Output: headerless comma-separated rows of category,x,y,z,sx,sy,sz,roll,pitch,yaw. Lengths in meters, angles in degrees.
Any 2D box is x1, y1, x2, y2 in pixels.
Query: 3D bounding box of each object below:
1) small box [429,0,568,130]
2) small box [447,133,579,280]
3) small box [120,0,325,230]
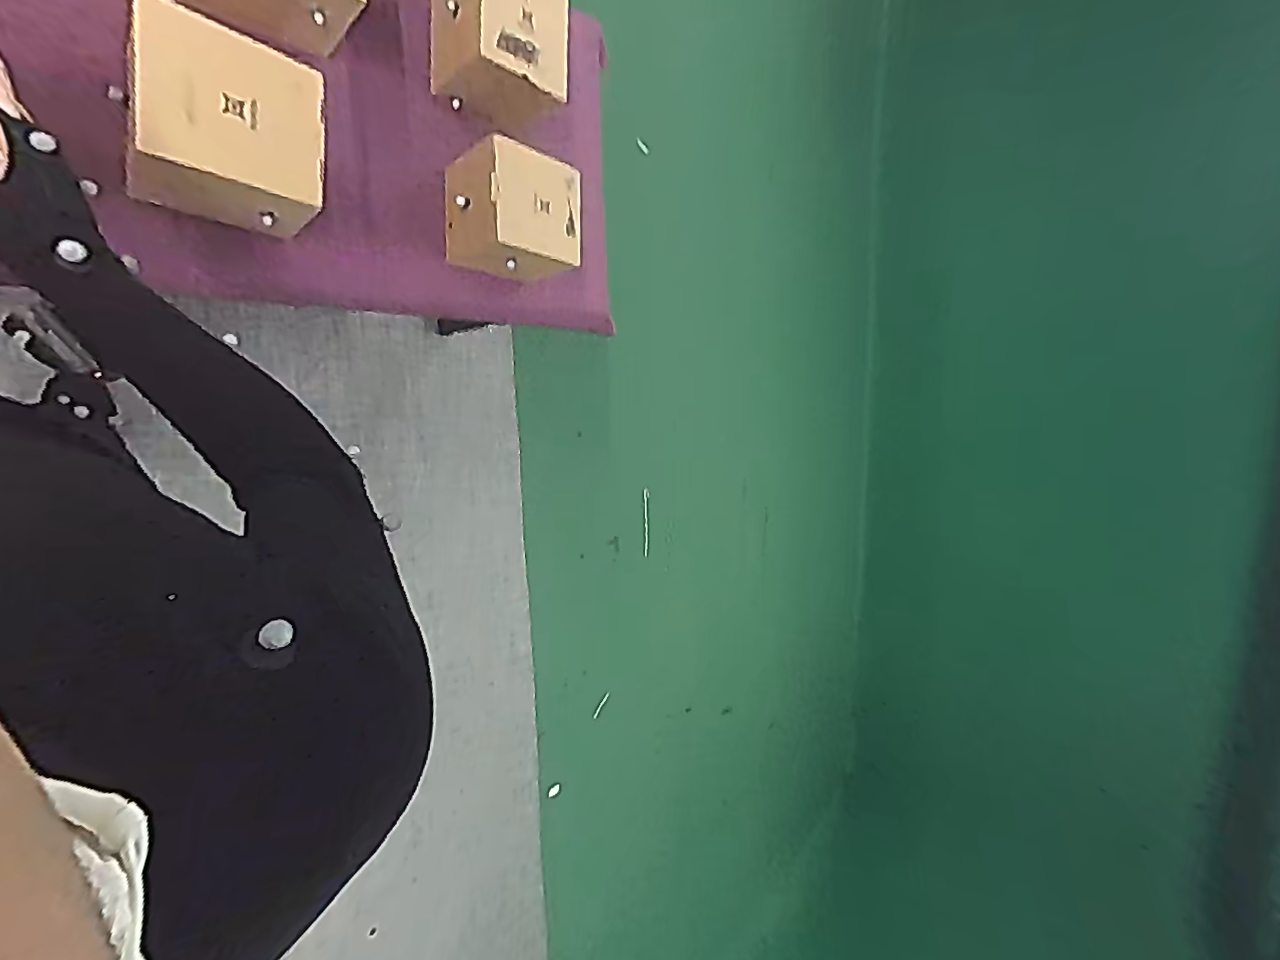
small box,-0.240,-0.734,0.912,0.168,0.176,0.179,-3,96,-46
small box,-0.227,-0.466,0.958,0.179,0.176,0.168,-4,97,-45
small box,-0.512,-0.428,0.665,0.179,0.176,0.168,0,93,-46
